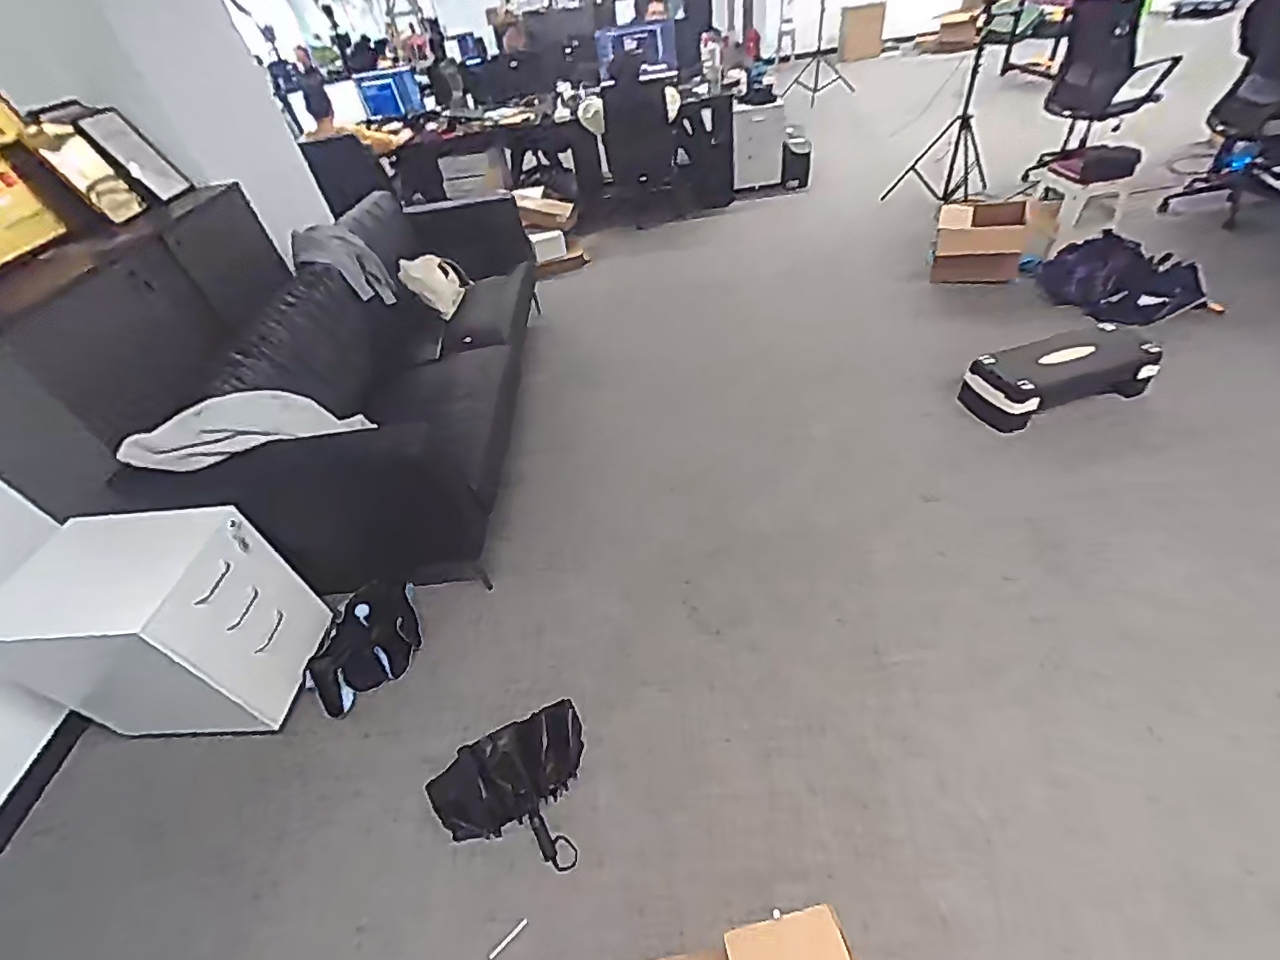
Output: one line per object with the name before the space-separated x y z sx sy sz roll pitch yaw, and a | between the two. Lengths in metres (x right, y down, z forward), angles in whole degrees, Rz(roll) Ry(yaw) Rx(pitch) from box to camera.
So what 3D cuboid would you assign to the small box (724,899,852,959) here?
small box | 0.235 0.775 0.823 0.179 0.176 0.168 -14 41 -3
